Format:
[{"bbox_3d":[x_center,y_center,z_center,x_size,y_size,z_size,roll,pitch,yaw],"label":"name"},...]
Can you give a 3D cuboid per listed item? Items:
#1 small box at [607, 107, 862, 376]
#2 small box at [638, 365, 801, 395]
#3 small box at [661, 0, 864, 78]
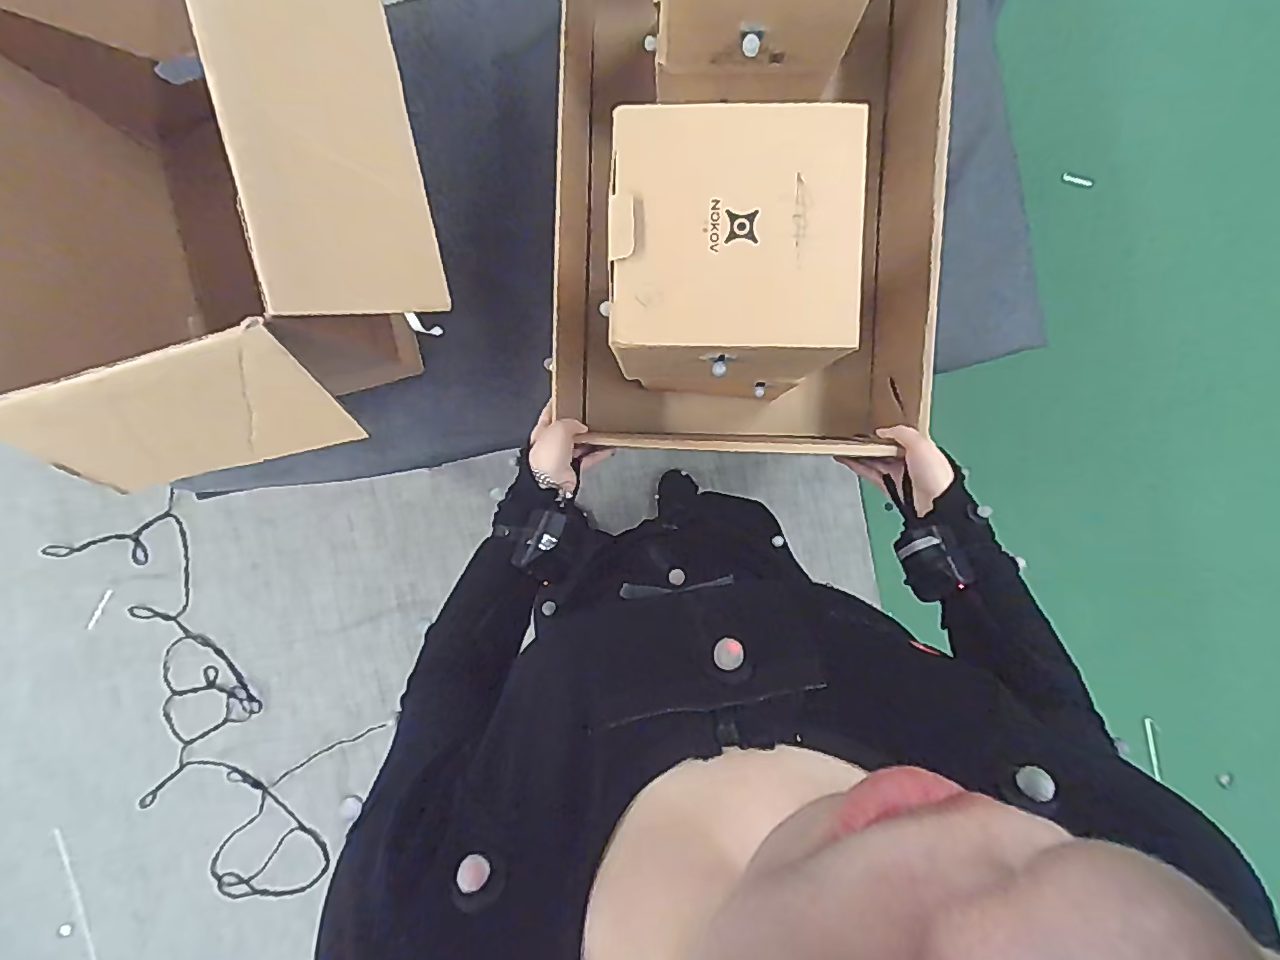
[{"bbox_3d":[0.068,-0.181,0.460,0.179,0.176,0.168,1,94,1],"label":"small box"},{"bbox_3d":[0.086,-0.193,0.620,0.179,0.176,0.168,5,93,2],"label":"small box"},{"bbox_3d":[0.103,-0.472,0.435,0.168,0.176,0.179,2,96,2],"label":"small box"}]
